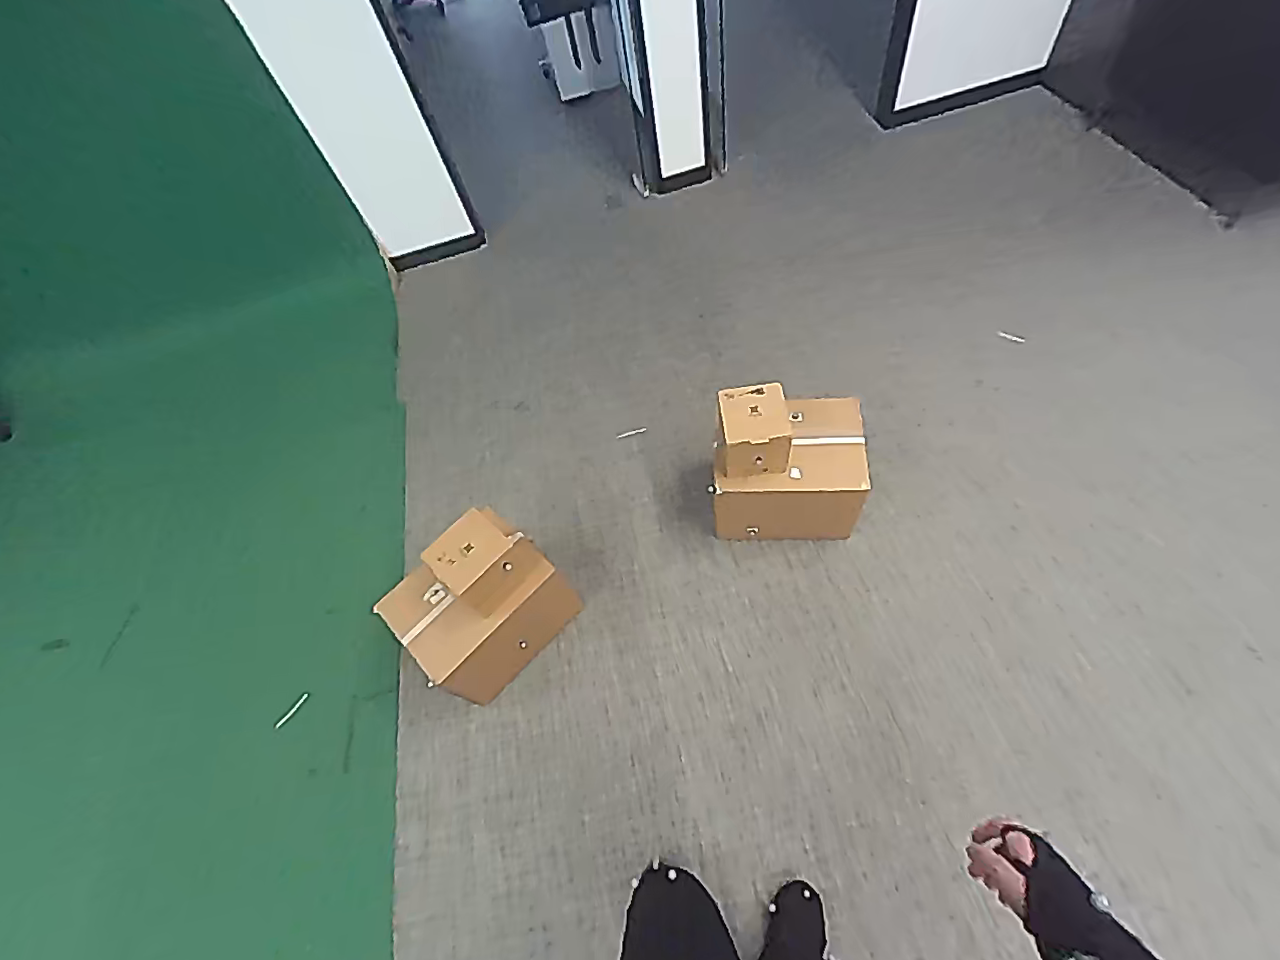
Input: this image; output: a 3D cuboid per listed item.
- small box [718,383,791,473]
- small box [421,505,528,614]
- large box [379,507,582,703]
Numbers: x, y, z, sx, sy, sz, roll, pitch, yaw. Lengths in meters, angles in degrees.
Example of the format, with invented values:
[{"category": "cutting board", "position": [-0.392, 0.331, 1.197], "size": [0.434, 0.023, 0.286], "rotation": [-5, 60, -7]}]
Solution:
[{"category": "small box", "position": [0.300, -0.130, 1.438], "size": [0.168, 0.176, 0.179], "rotation": [-6, 59, 6]}, {"category": "small box", "position": [-0.404, 0.203, 1.358], "size": [0.168, 0.176, 0.179], "rotation": [37, 71, 27]}, {"category": "large box", "position": [-0.438, 0.363, 1.560], "size": [0.320, 0.320, 0.408], "rotation": [36, 72, 28]}]
